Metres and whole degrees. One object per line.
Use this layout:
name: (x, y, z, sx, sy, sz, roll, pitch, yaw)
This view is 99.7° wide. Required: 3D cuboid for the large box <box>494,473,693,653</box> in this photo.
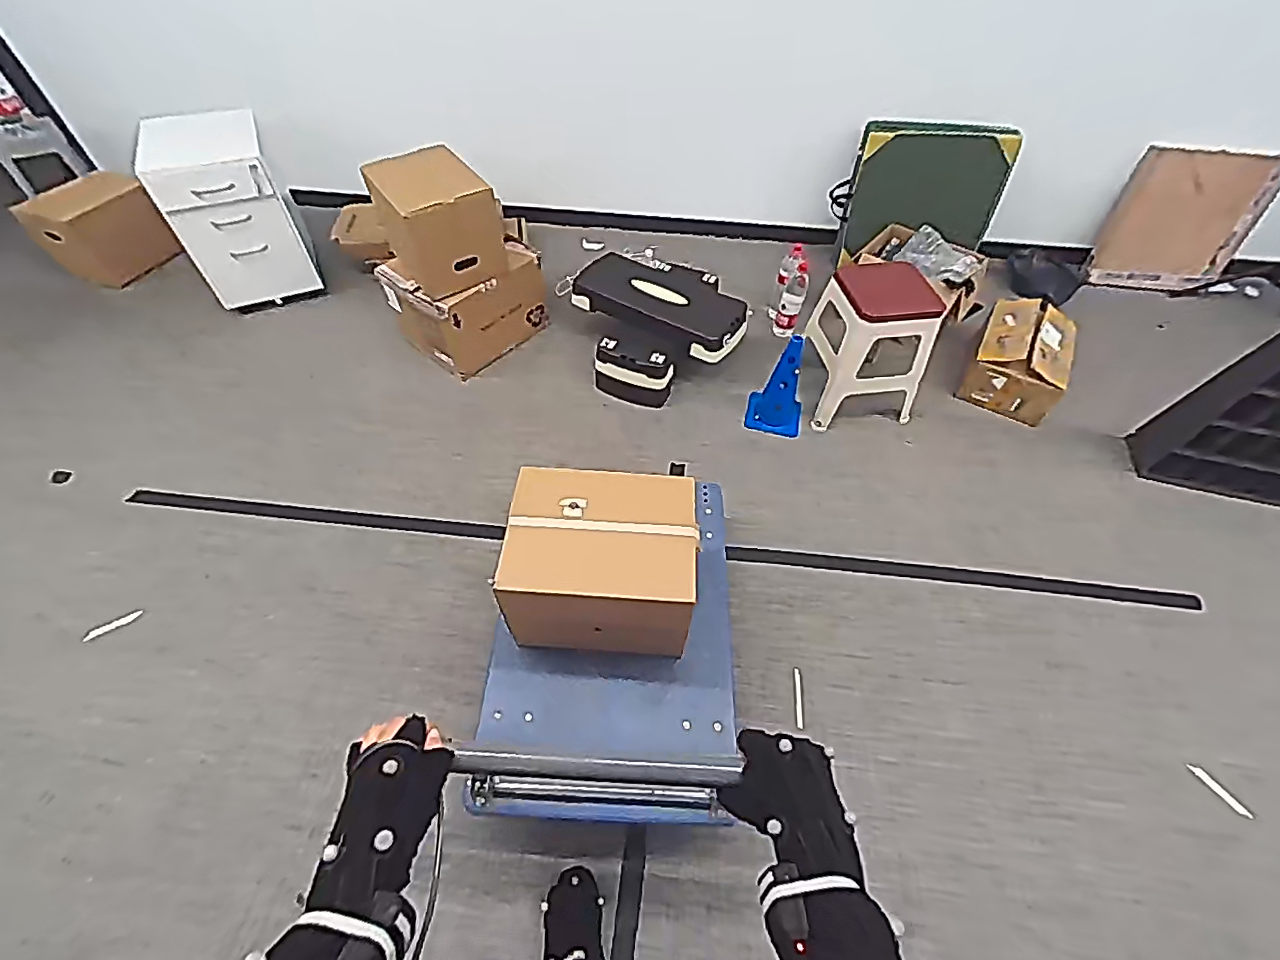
large box: (-0.087, 0.202, 1.278, 0.408, 0.320, 0.320, 4, 53, 1)
